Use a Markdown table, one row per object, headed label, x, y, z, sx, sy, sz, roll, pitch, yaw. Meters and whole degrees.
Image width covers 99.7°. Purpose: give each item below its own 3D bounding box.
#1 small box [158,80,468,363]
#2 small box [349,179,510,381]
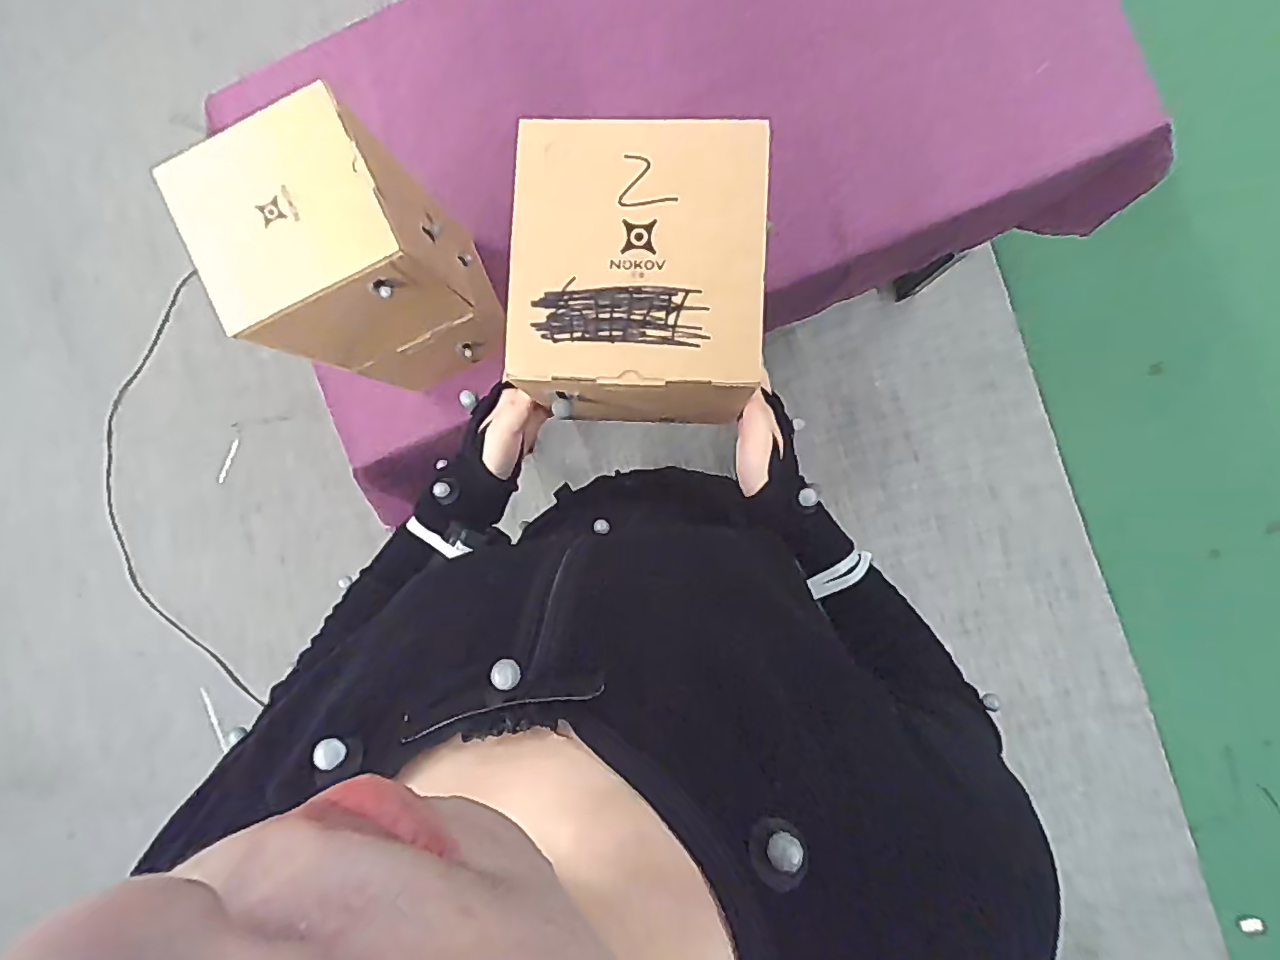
| label | x | y | z | sx | sy | sz | roll | pitch | yaw |
| --- | --- | --- | --- | --- | --- | --- | --- | --- | --- |
| small box | -0.308 | -0.236 | 0.547 | 0.179 | 0.176 | 0.168 | -25 | 90 | 3 |
| small box | -0.292 | -0.241 | 0.709 | 0.168 | 0.176 | 0.179 | -23 | 89 | 4 |
